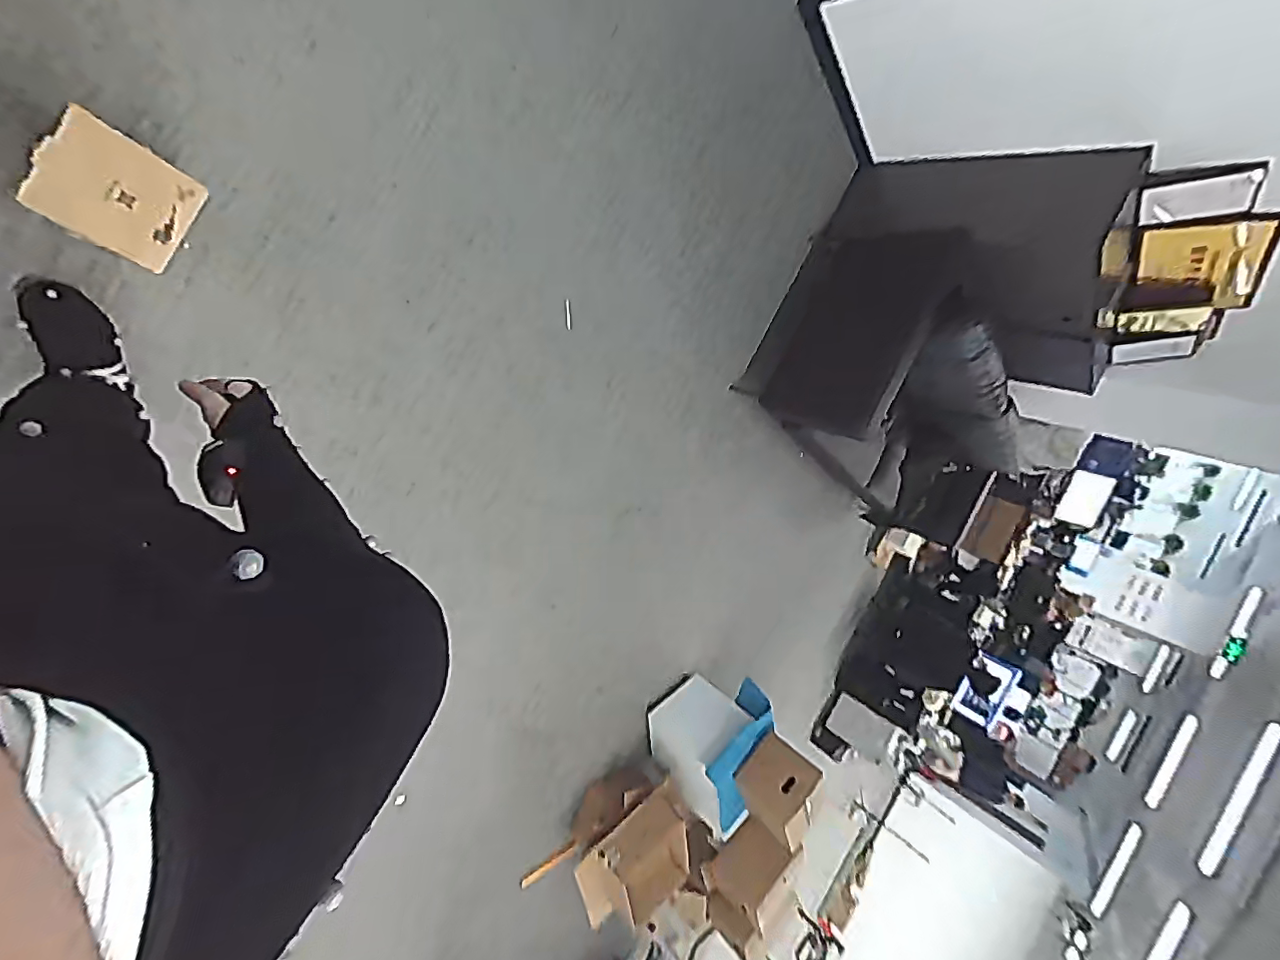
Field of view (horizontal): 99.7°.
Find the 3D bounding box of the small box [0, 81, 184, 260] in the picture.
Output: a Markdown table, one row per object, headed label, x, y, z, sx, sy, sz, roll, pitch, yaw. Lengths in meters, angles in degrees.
| label | x | y | z | sx | sy | sz | roll | pitch | yaw |
| --- | --- | --- | --- | --- | --- | --- | --- | --- | --- |
| small box | -0.873 | -0.474 | 0.851 | 0.179 | 0.176 | 0.168 | 35 | 85 | -49 |
